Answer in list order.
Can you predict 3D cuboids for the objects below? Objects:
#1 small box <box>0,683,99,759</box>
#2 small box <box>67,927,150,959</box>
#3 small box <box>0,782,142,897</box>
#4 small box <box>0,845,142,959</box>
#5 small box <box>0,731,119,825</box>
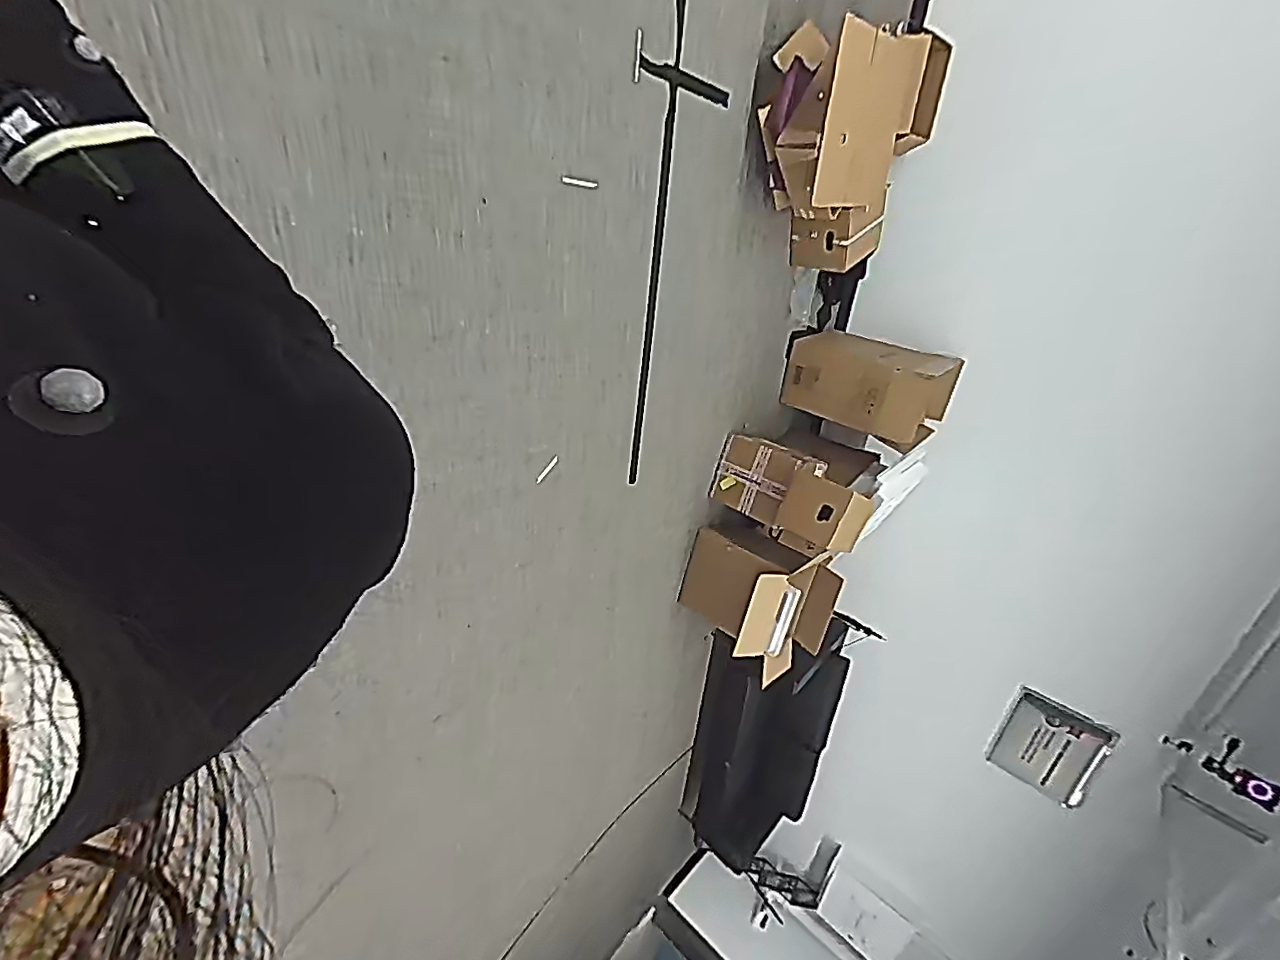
[{"bbox_3d":[-1.309,0.583,1.179,0.179,0.176,0.168,-13,120,-49],"label":"small box"},{"bbox_3d":[-0.830,0.832,0.809,0.168,0.176,0.179,-16,121,-48],"label":"small box"},{"bbox_3d":[-1.066,0.711,1.002,0.179,0.176,0.168,-12,119,-49],"label":"small box"},{"bbox_3d":[-0.951,0.767,0.898,0.168,0.176,0.179,-14,119,-50],"label":"small box"},{"bbox_3d":[-1.186,0.647,1.090,0.179,0.176,0.168,-9,117,-51],"label":"small box"}]
